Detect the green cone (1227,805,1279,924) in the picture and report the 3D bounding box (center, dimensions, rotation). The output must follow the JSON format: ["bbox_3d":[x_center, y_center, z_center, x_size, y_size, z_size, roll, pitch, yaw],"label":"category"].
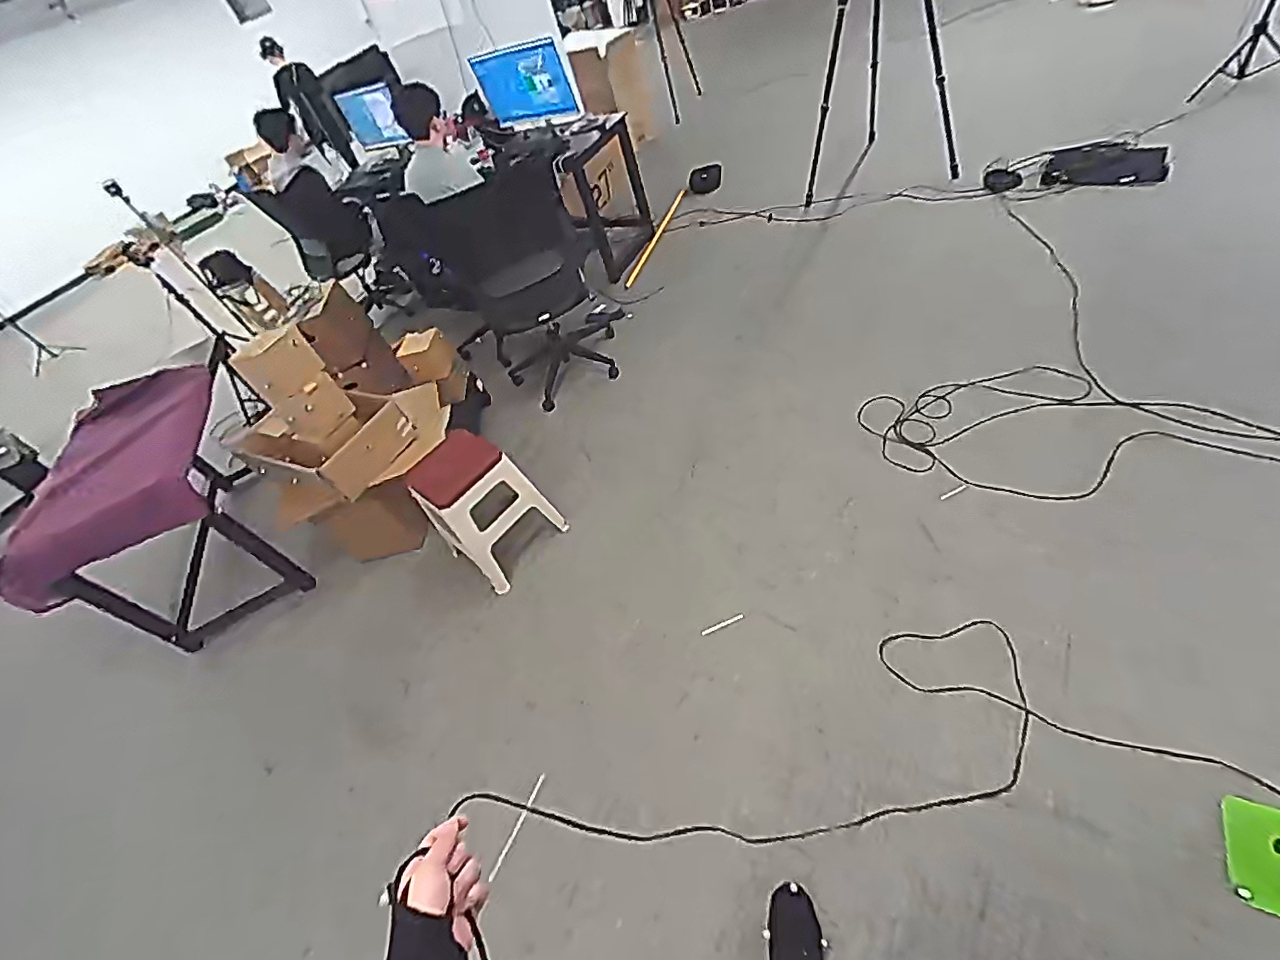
[{"bbox_3d":[1.229,0.649,0.913,0.200,0.368,0.202,10,53,28],"label":"green cone"}]
